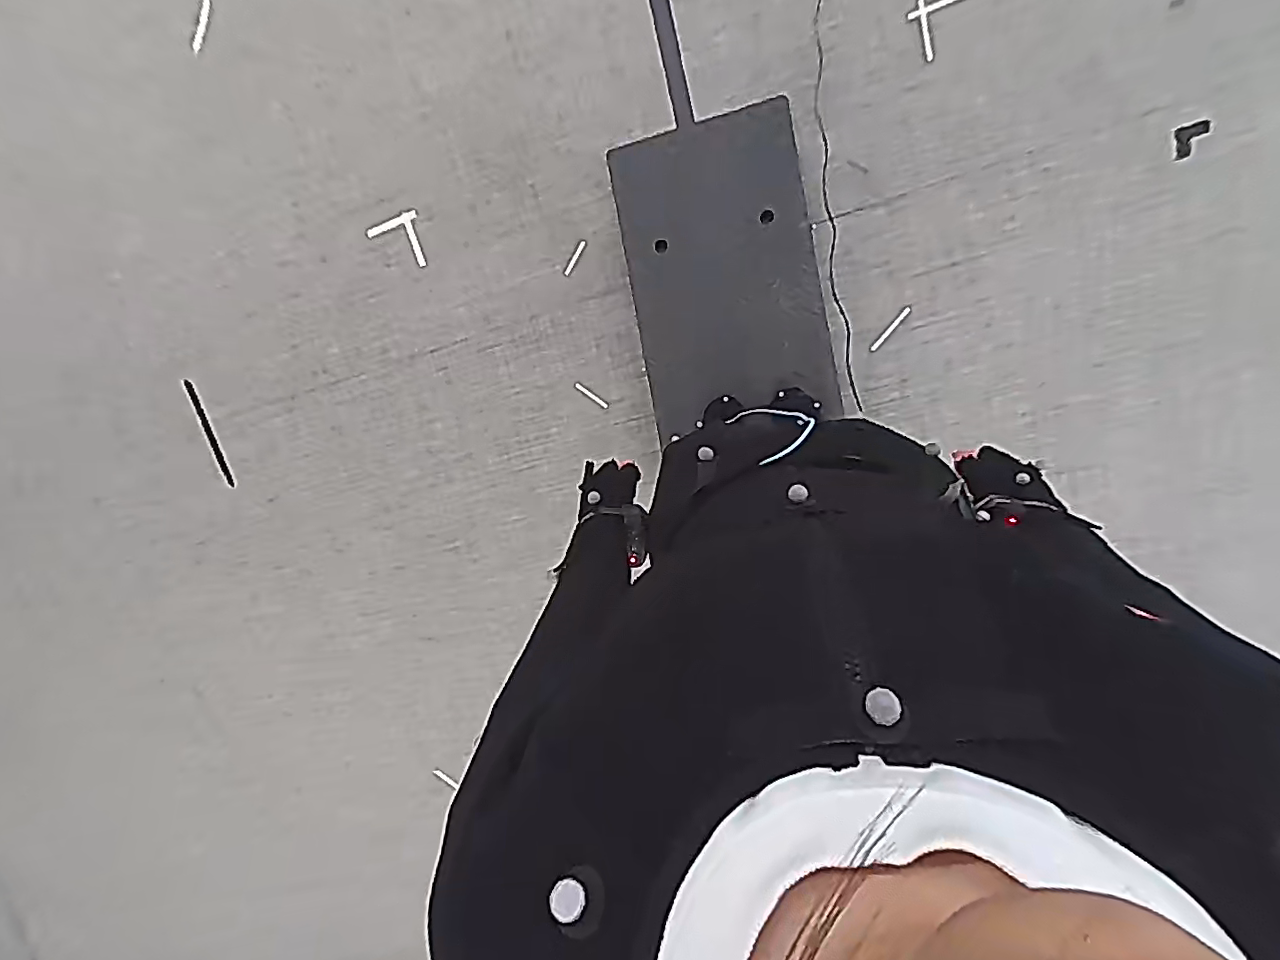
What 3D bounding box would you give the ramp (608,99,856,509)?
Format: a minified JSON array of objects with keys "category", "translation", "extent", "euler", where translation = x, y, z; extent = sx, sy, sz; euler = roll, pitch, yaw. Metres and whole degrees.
[{"category":"ramp","translation":[0.231,-0.449,1.444],"extent":[0.509,0.206,0.991],"euler":[-12,100,13]}]
